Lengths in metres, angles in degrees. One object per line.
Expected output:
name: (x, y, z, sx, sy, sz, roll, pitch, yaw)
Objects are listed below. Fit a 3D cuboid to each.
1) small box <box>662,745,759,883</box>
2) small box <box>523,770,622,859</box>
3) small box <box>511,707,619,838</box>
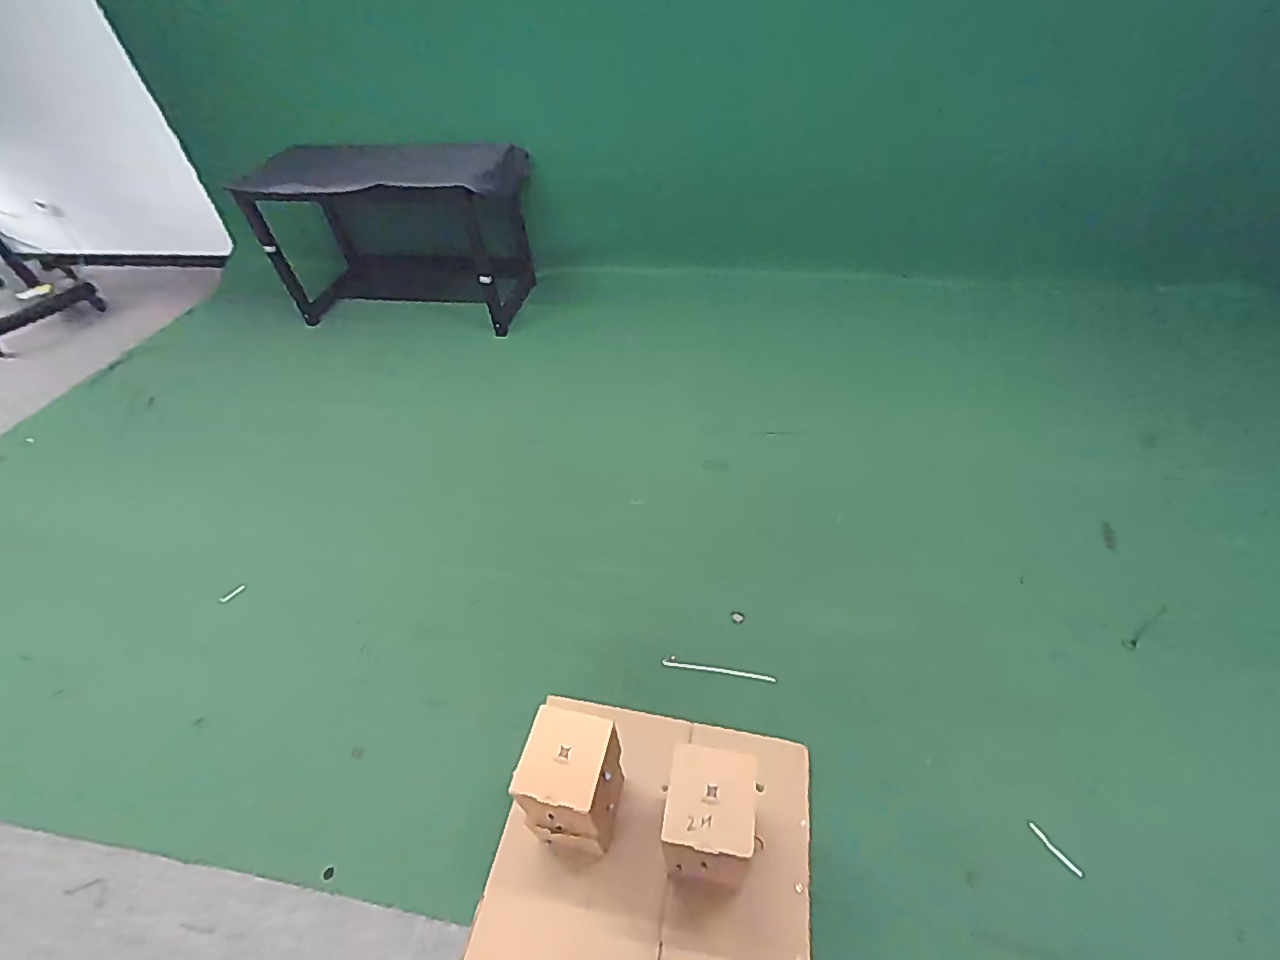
small box: (0.138, 0.651, 1.056, 0.168, 0.176, 0.179, 5, 45, 11)
small box: (-0.142, 0.732, 1.231, 0.168, 0.176, 0.179, 7, 45, 12)
small box: (-0.145, 0.608, 1.125, 0.168, 0.176, 0.179, 8, 46, 13)
